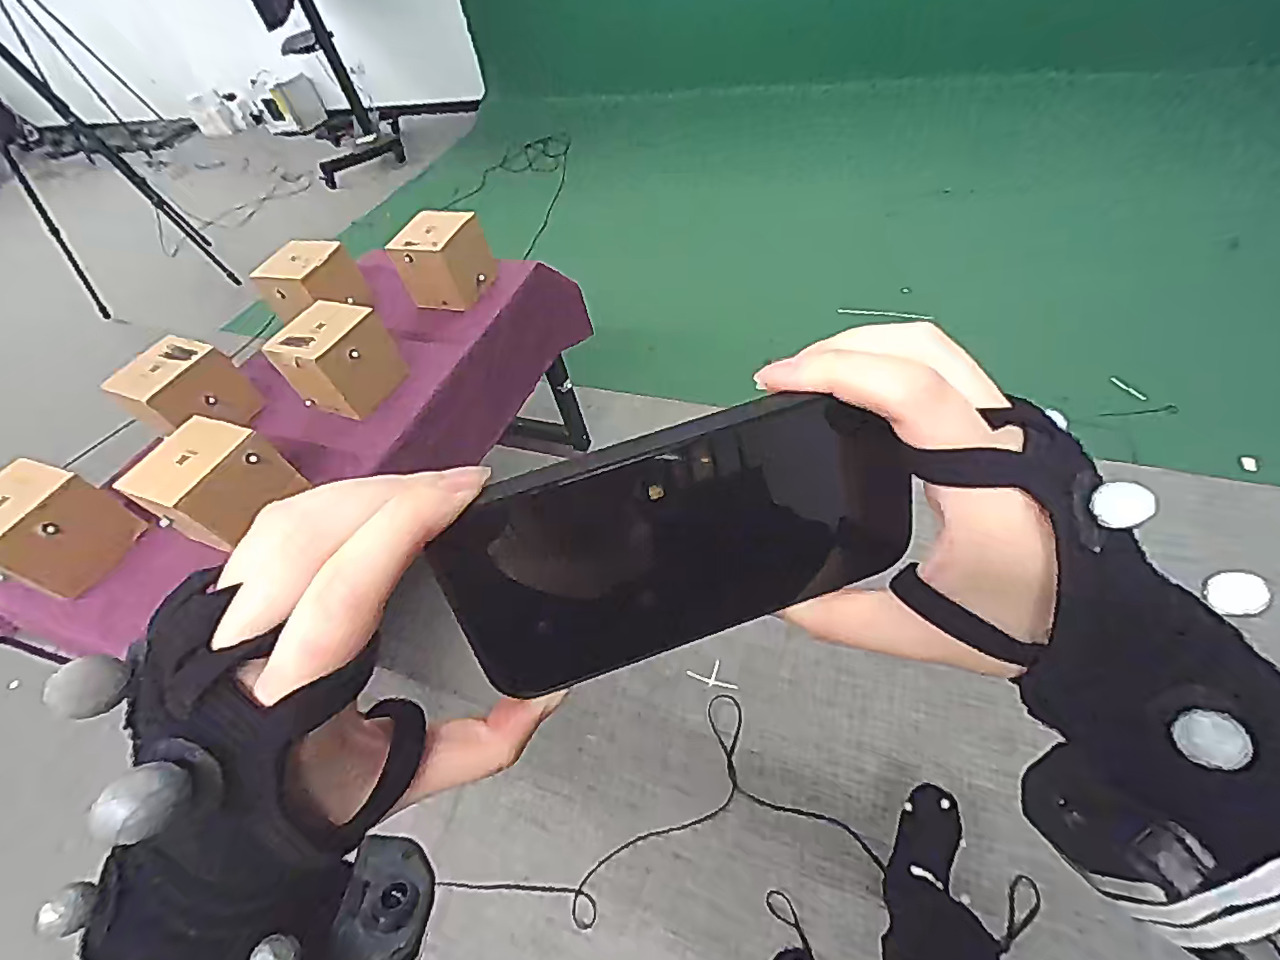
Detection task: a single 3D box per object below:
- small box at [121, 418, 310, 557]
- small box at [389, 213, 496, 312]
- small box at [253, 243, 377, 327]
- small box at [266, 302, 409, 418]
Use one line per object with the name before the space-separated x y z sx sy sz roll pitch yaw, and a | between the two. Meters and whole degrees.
small box | -0.756 0.015 0.986 0.168 0.176 0.179 13 54 20
small box | -0.490 -0.555 1.380 0.168 0.176 0.179 10 55 19
small box | -0.829 -0.490 1.396 0.179 0.176 0.168 10 55 18
small box | -0.646 -0.259 1.180 0.168 0.176 0.179 14 56 21
